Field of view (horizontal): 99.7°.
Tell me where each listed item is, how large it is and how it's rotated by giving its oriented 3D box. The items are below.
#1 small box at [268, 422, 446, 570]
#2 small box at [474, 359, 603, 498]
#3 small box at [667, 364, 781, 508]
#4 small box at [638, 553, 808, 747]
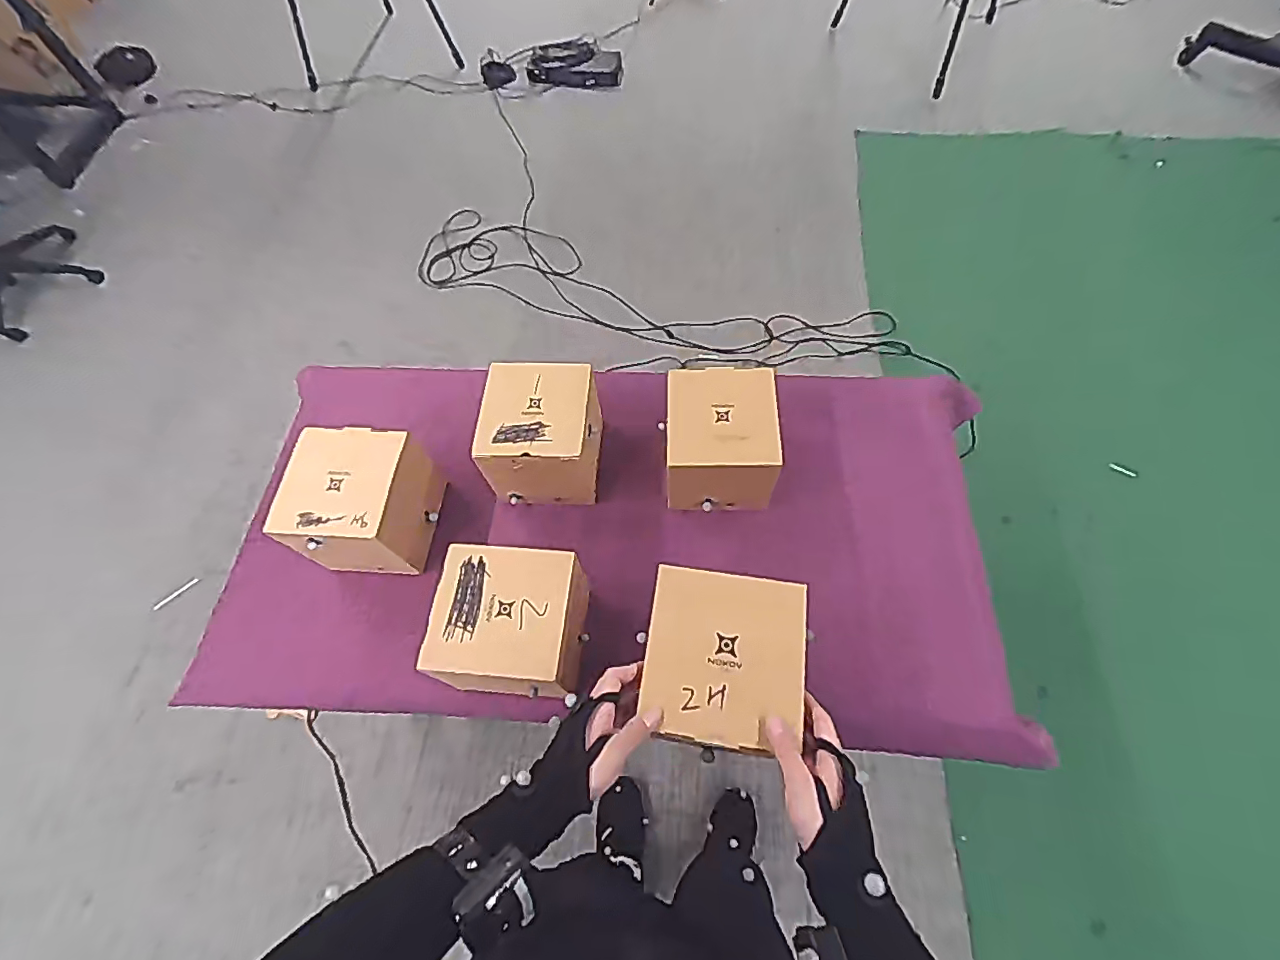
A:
[{"bbox_3d":[-0.428,0.029,0.856,0.168,0.176,0.179,2,63,5],"label":"small box"},{"bbox_3d":[-0.156,-0.080,0.898,0.168,0.176,0.179,1,62,4],"label":"small box"},{"bbox_3d":[0.128,-0.069,0.879,0.168,0.176,0.179,0,64,4],"label":"small box"},{"bbox_3d":[0.095,0.206,0.641,0.168,0.176,0.179,7,64,7],"label":"small box"}]
